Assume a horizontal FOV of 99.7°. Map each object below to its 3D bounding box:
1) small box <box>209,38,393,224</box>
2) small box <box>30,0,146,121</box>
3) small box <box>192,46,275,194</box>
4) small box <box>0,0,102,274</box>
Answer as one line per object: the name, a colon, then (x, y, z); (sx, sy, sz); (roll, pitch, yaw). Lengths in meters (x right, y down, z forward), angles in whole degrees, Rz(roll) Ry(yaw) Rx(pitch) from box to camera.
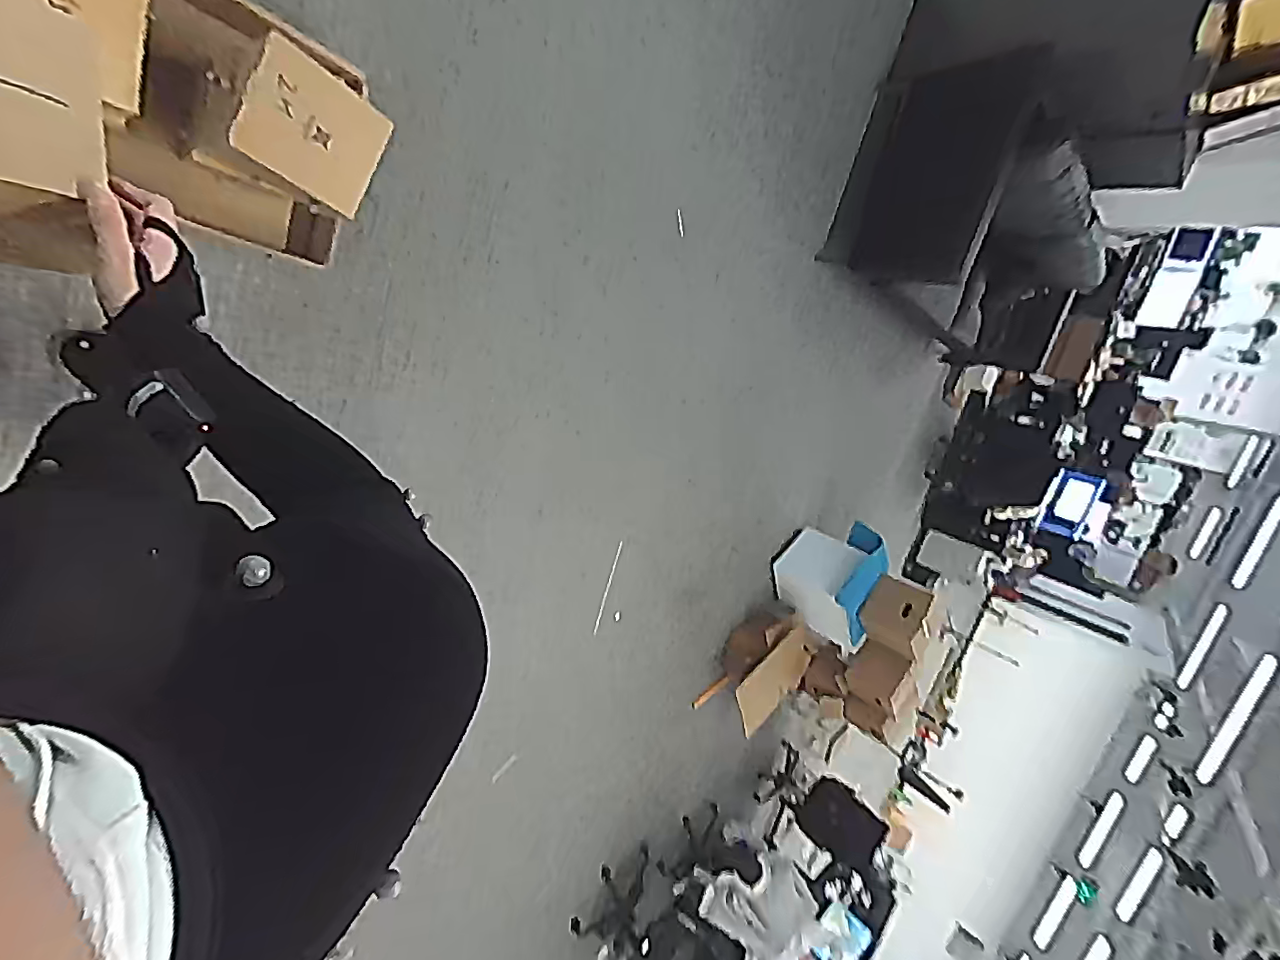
small box: (-0.528, -0.529, 0.840); (0.179, 0.176, 0.168); (23, 93, -49)
small box: (-0.812, -0.632, 0.750); (0.168, 0.176, 0.179); (3, 107, -49)
small box: (-0.642, -0.600, 0.939); (0.179, 0.176, 0.168); (12, 102, -48)
small box: (-0.576, -0.292, 0.446); (0.179, 0.176, 0.168); (-5, 86, -49)
